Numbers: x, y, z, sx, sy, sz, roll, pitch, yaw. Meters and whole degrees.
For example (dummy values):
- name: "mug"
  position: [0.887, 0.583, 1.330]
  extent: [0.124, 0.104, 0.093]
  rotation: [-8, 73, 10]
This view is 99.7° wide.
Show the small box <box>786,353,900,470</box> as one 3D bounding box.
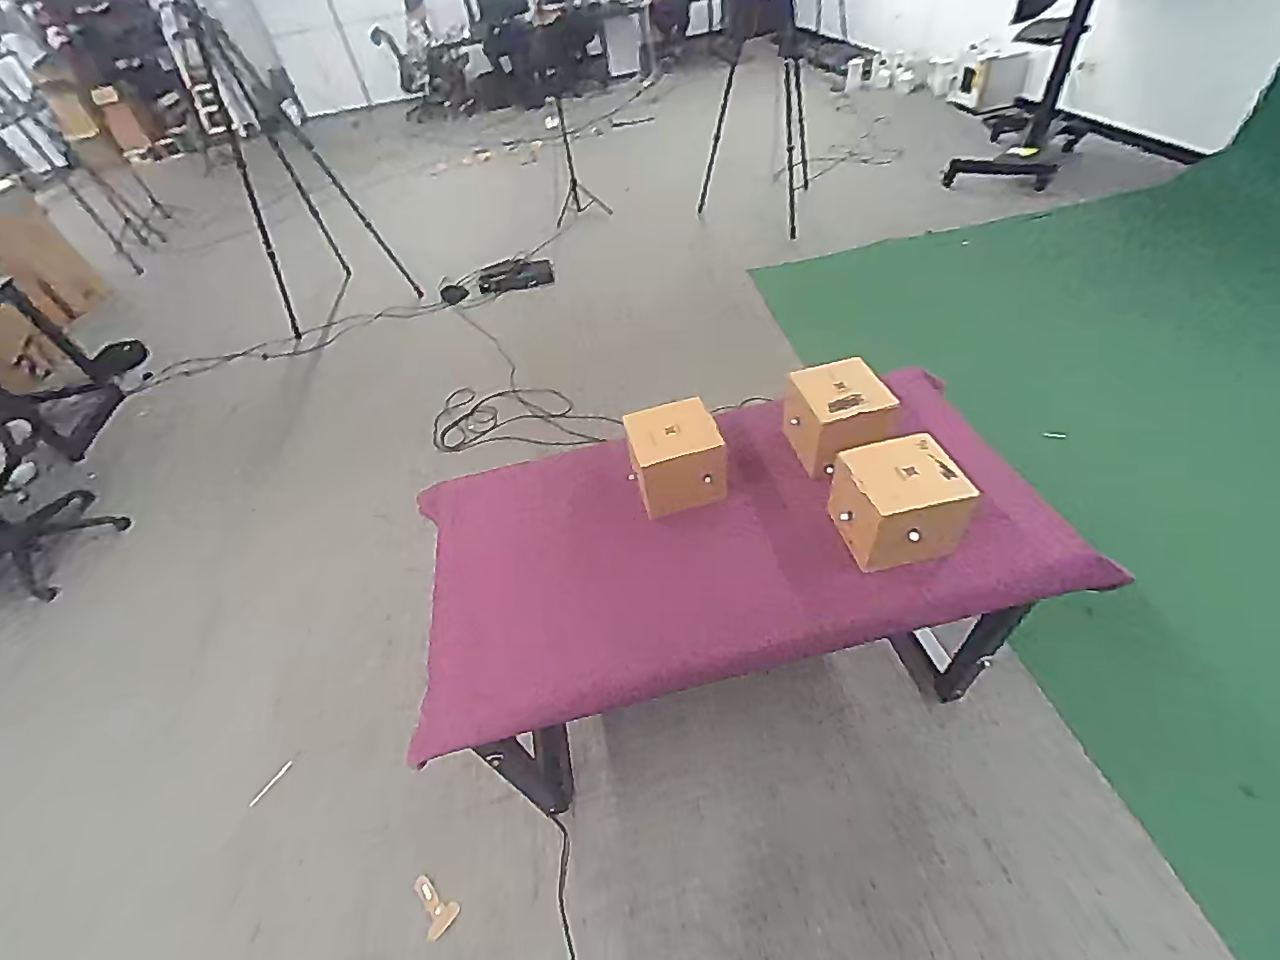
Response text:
- name: "small box"
  position: [0.424, -0.139, 1.158]
  extent: [0.168, 0.176, 0.179]
  rotation: [-13, 46, -2]

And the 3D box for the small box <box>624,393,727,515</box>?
- name: "small box"
  position: [0.076, -0.053, 1.143]
  extent: [0.179, 0.176, 0.168]
  rotation: [-15, 47, -3]

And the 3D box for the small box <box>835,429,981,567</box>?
- name: "small box"
  position: [0.471, 0.037, 0.986]
  extent: [0.179, 0.176, 0.168]
  rotation: [-13, 46, 0]
